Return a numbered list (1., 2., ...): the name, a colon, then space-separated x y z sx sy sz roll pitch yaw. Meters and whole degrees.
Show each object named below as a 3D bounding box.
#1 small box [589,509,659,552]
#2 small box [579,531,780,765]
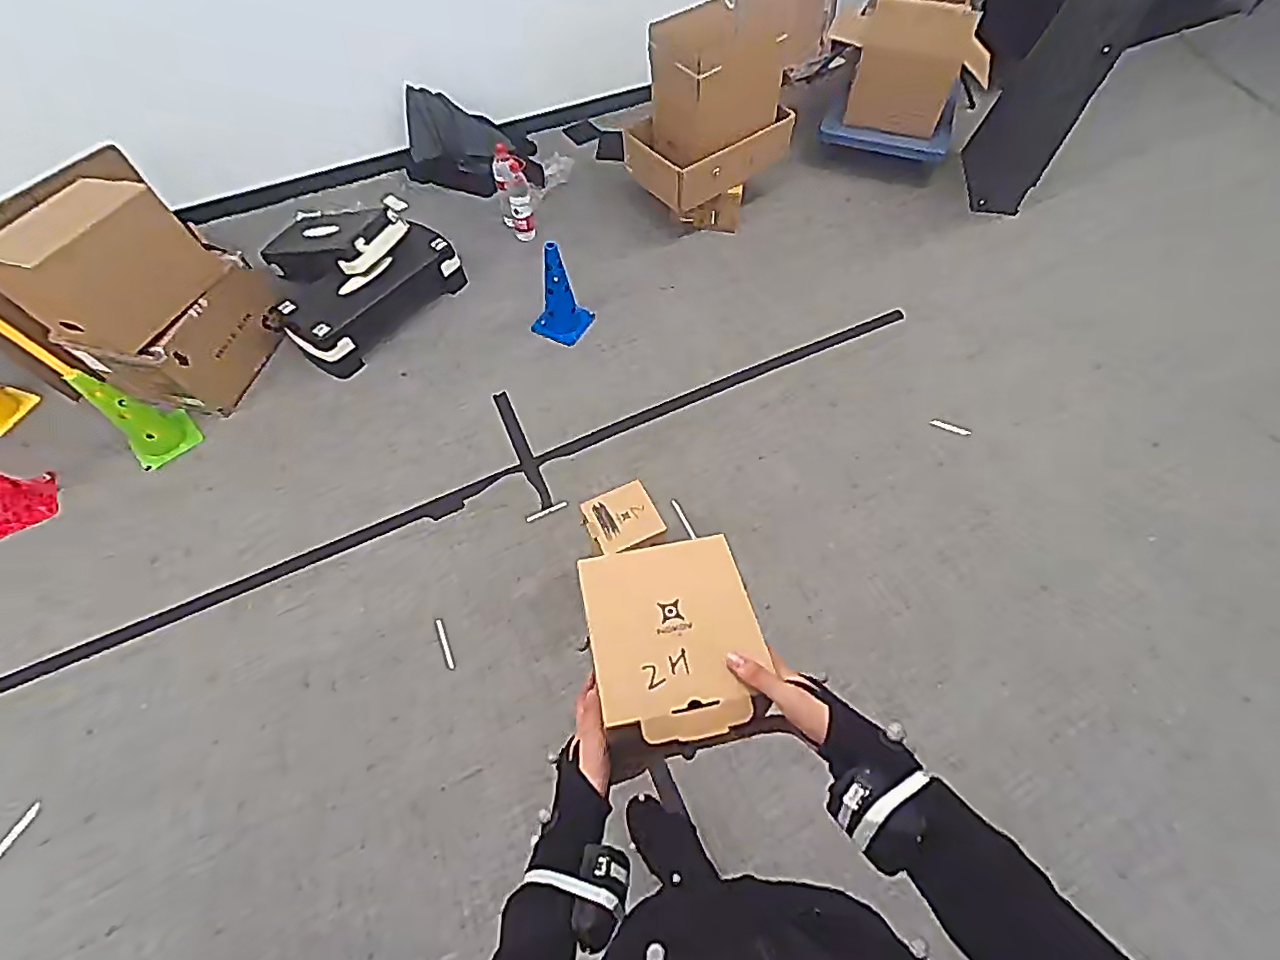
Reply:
1. small box: -0.033 0.220 1.589 0.168 0.176 0.179 -27 63 -14
2. small box: 0.029 0.184 0.590 0.168 0.176 0.179 -10 52 -8
